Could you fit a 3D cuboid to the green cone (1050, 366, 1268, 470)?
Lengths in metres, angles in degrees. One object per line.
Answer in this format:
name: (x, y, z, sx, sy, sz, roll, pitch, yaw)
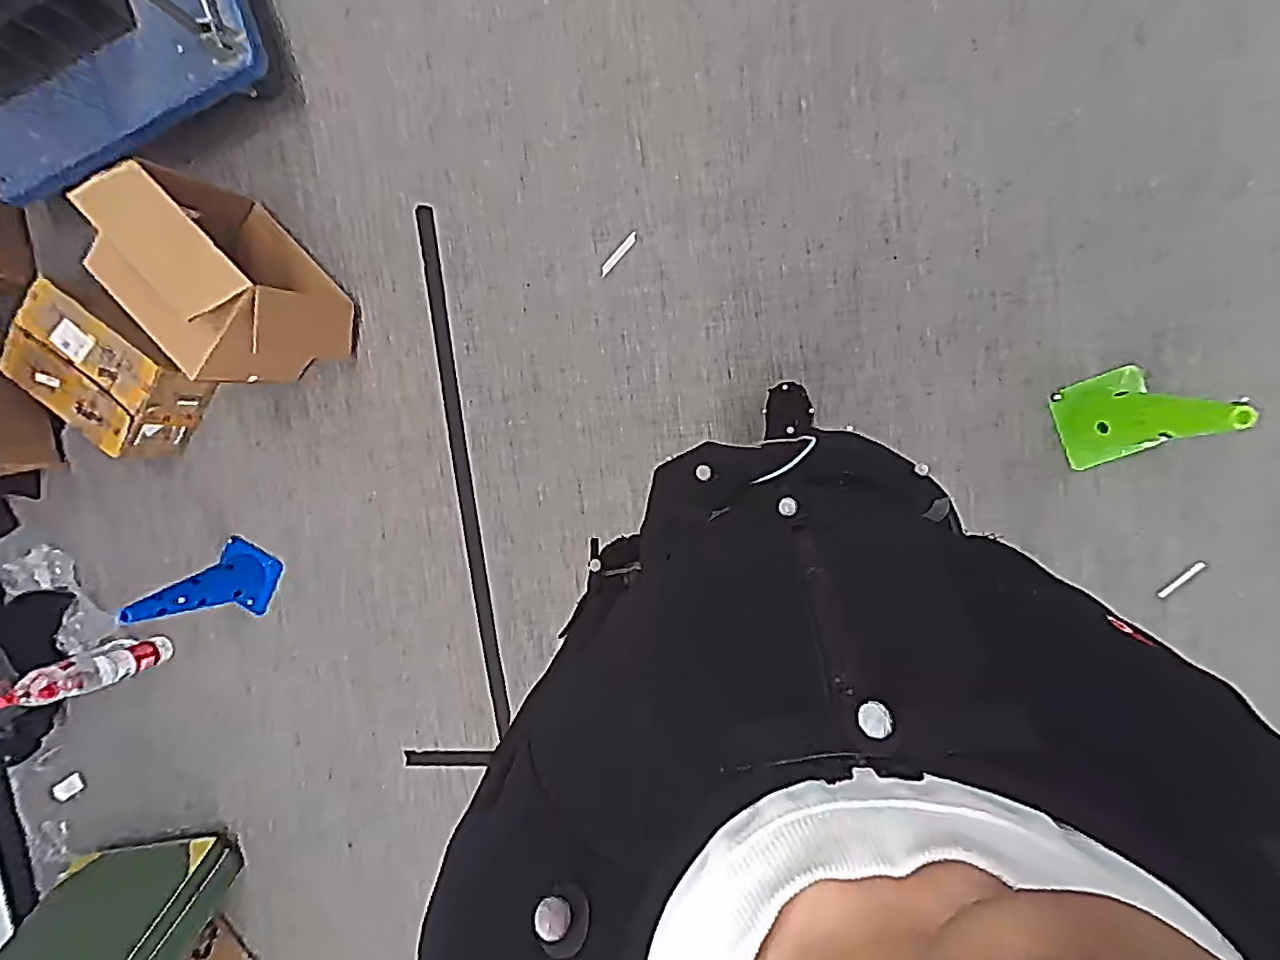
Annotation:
green cone: (1.066, -0.125, 1.096, 0.202, 0.368, 0.200, -22, 93, 9)
